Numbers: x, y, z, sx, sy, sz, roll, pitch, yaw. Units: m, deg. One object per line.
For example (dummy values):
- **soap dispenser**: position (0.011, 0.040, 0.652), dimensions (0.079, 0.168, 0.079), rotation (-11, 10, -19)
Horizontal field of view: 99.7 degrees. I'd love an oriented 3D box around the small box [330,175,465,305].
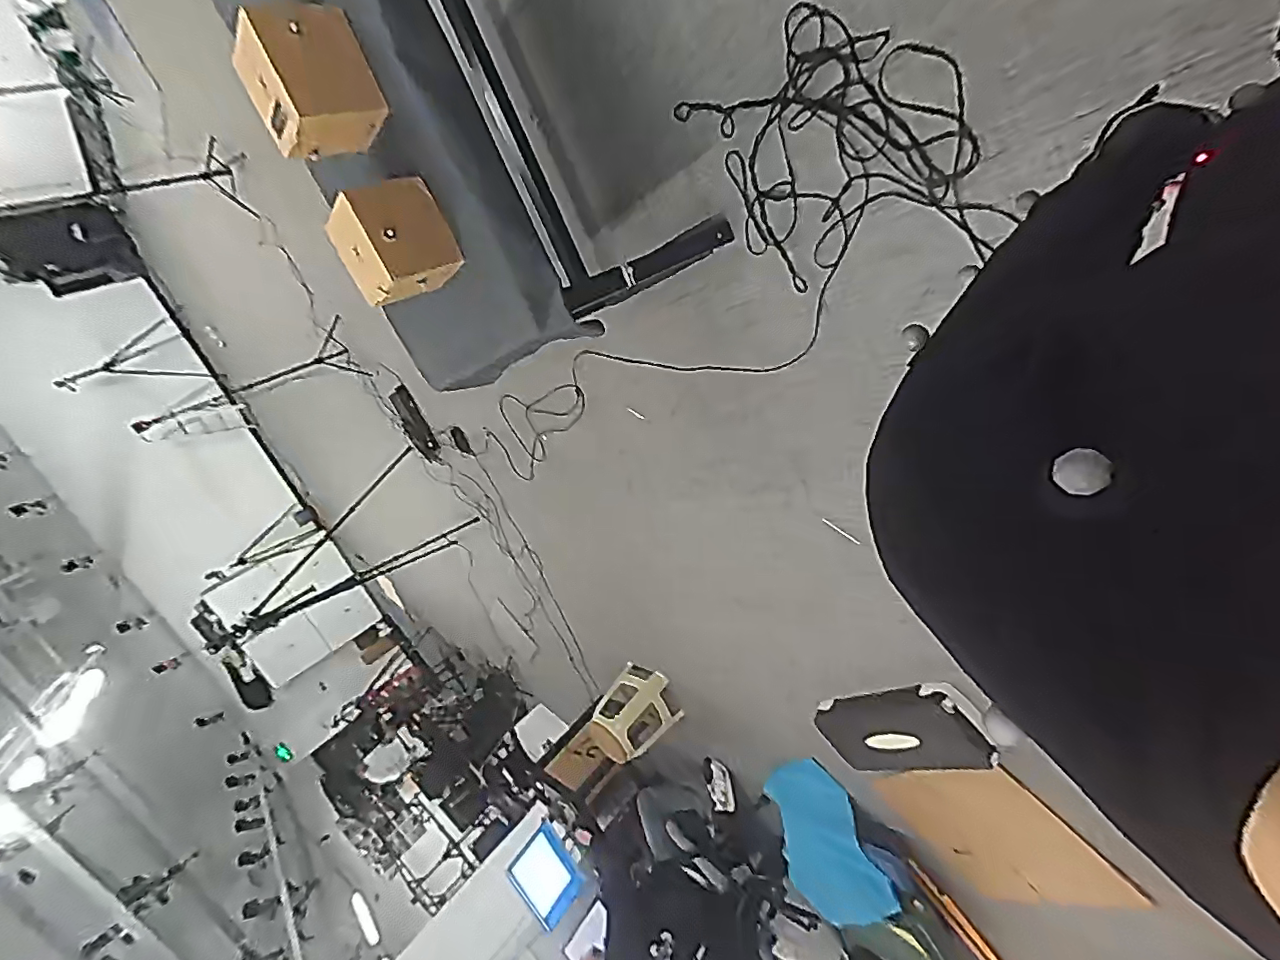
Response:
- **small box**: position (-0.489, -0.487, 1.101), dimensions (0.168, 0.176, 0.179), rotation (-7, 113, 50)
